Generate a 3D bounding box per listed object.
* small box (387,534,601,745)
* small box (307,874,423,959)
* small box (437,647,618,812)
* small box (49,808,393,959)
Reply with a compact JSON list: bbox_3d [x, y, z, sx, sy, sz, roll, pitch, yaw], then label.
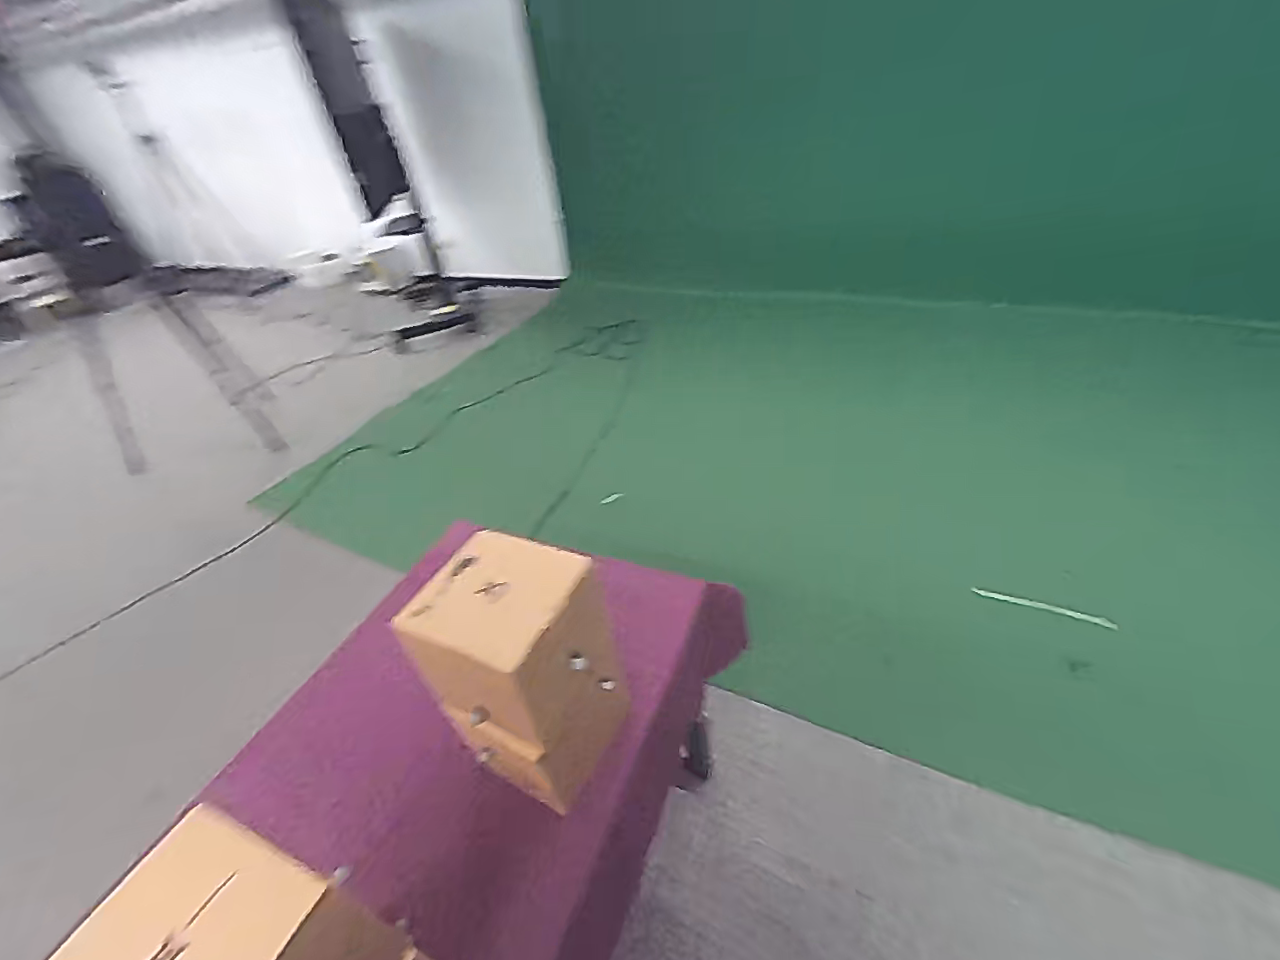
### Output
[{"bbox_3d":[-0.165,0.198,0.674,0.179,0.176,0.168,12,41,24],"label":"small box"},{"bbox_3d":[-0.311,0.543,0.526,0.168,0.176,0.179,11,42,25],"label":"small box"},{"bbox_3d":[-0.146,0.329,0.772,0.168,0.176,0.179,14,43,27],"label":"small box"},{"bbox_3d":[-0.338,0.413,0.429,0.168,0.176,0.179,9,40,22],"label":"small box"}]
